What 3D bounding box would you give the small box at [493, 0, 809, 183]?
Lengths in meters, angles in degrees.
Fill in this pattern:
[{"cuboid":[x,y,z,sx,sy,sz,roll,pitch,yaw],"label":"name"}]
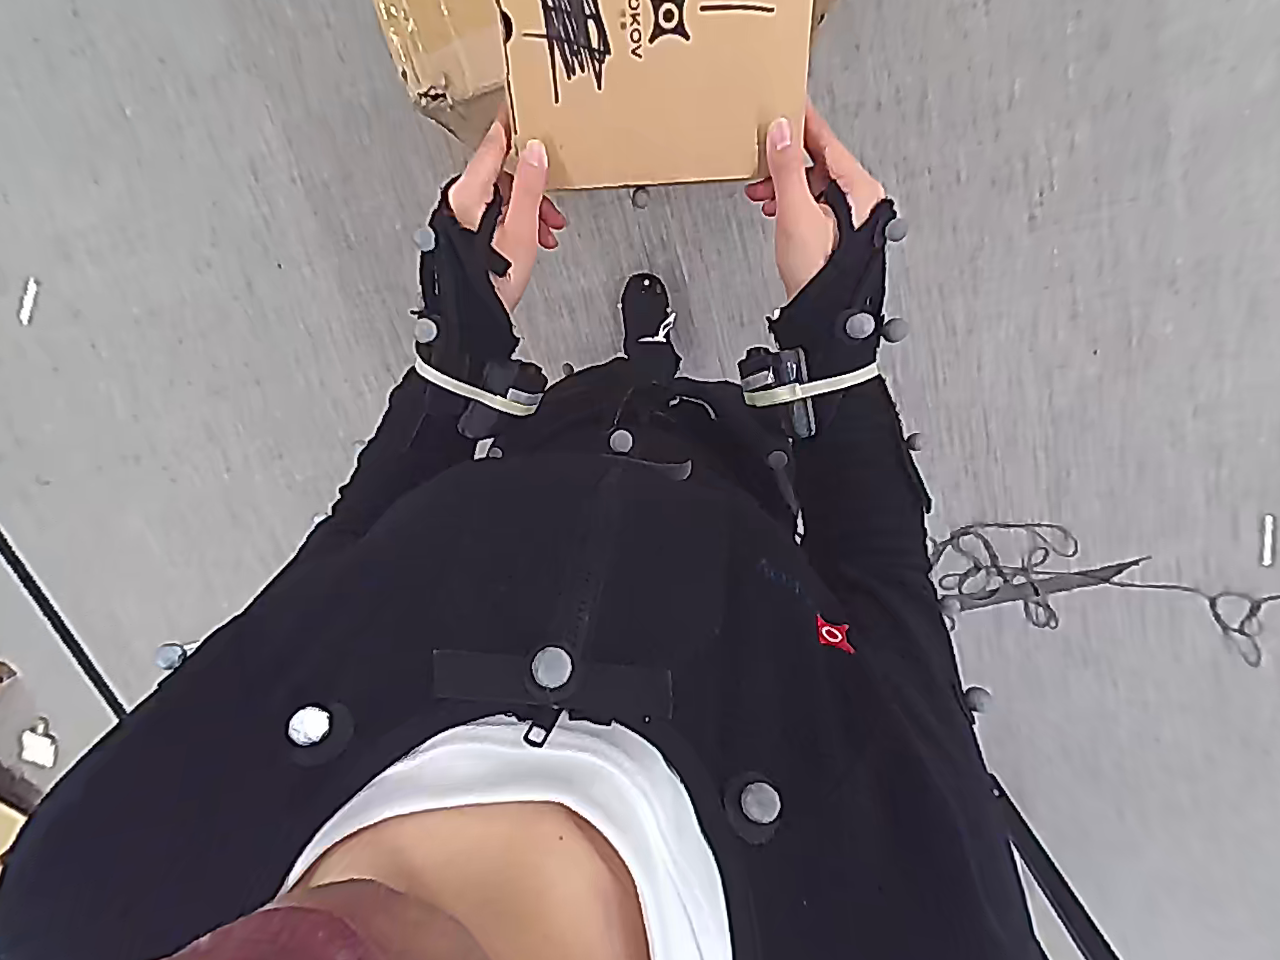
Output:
[{"cuboid":[0.008,-0.299,0.365,0.179,0.176,0.168,-2,118,3],"label":"small box"}]
